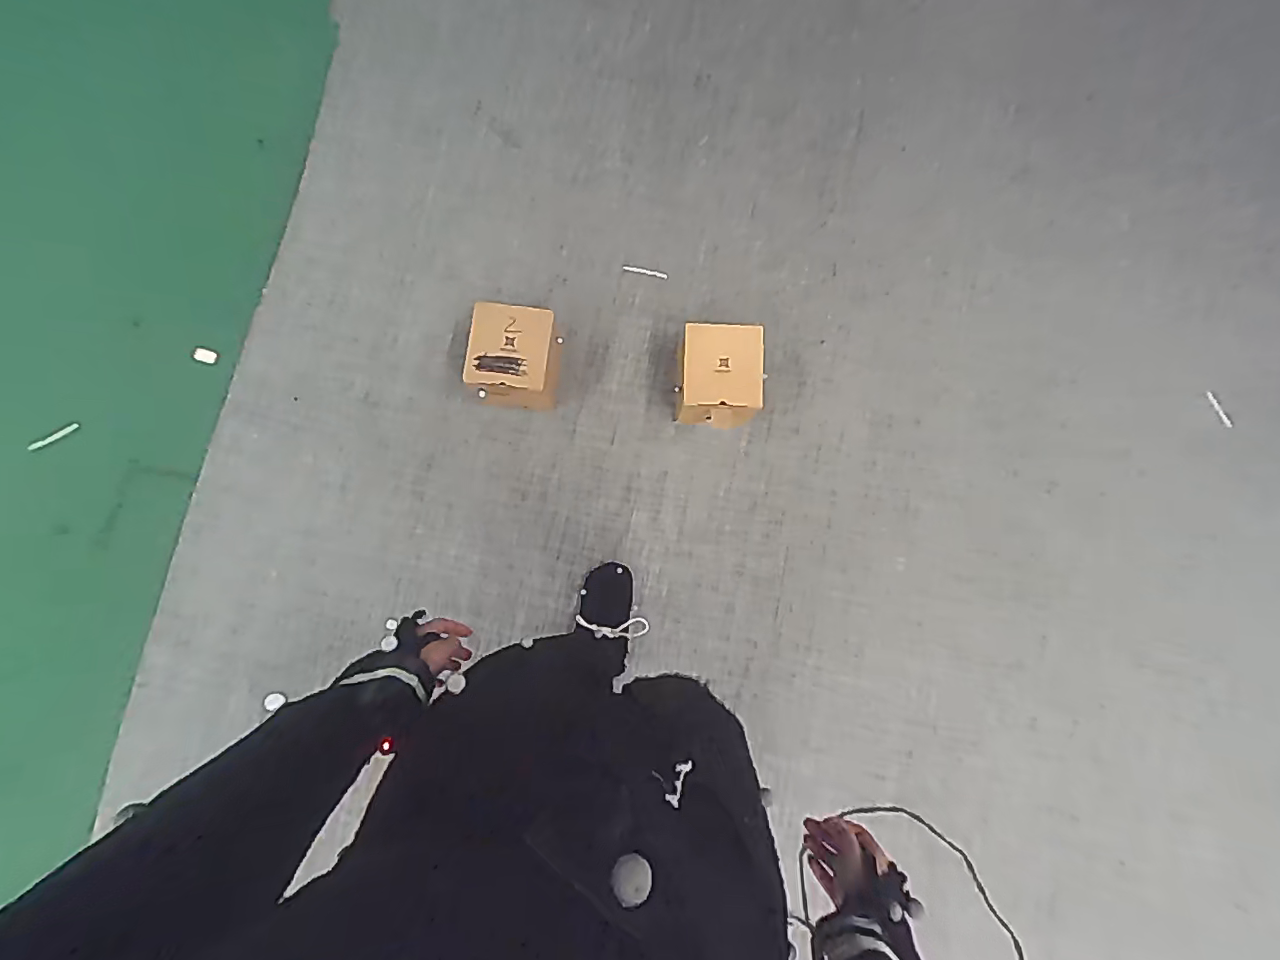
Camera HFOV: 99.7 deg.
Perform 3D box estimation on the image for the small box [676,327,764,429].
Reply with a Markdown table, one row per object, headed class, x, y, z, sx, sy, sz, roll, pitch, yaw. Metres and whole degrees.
| class | x | y | z | sx | sy | sz | roll | pitch | yaw |
| --- | --- | --- | --- | --- | --- | --- | --- | --- | --- |
| small box | 0.170 | -0.219 | 1.190 | 0.168 | 0.176 | 0.179 | 2 | 83 | -1 |
